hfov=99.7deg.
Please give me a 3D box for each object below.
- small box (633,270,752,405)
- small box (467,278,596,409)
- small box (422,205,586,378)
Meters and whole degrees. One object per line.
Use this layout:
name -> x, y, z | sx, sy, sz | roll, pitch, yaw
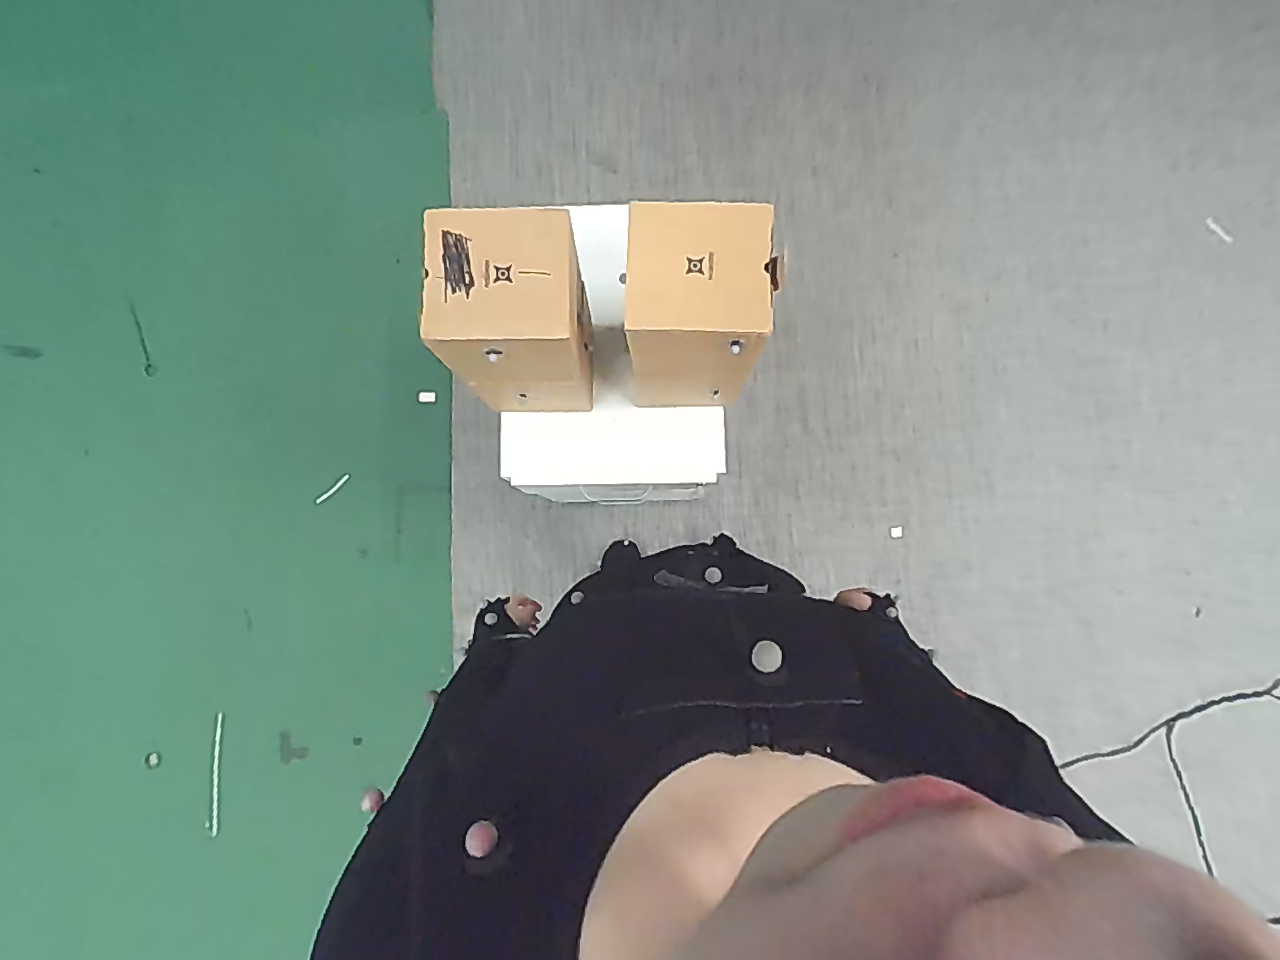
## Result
small box -> 0.079, -0.223, 0.879 | 0.179, 0.176, 0.168 | 0, 83, 2
small box -> -0.167, -0.214, 0.880 | 0.179, 0.176, 0.168 | 0, 84, -1
small box -> -0.167, -0.237, 0.715 | 0.179, 0.176, 0.168 | -1, 84, -1
